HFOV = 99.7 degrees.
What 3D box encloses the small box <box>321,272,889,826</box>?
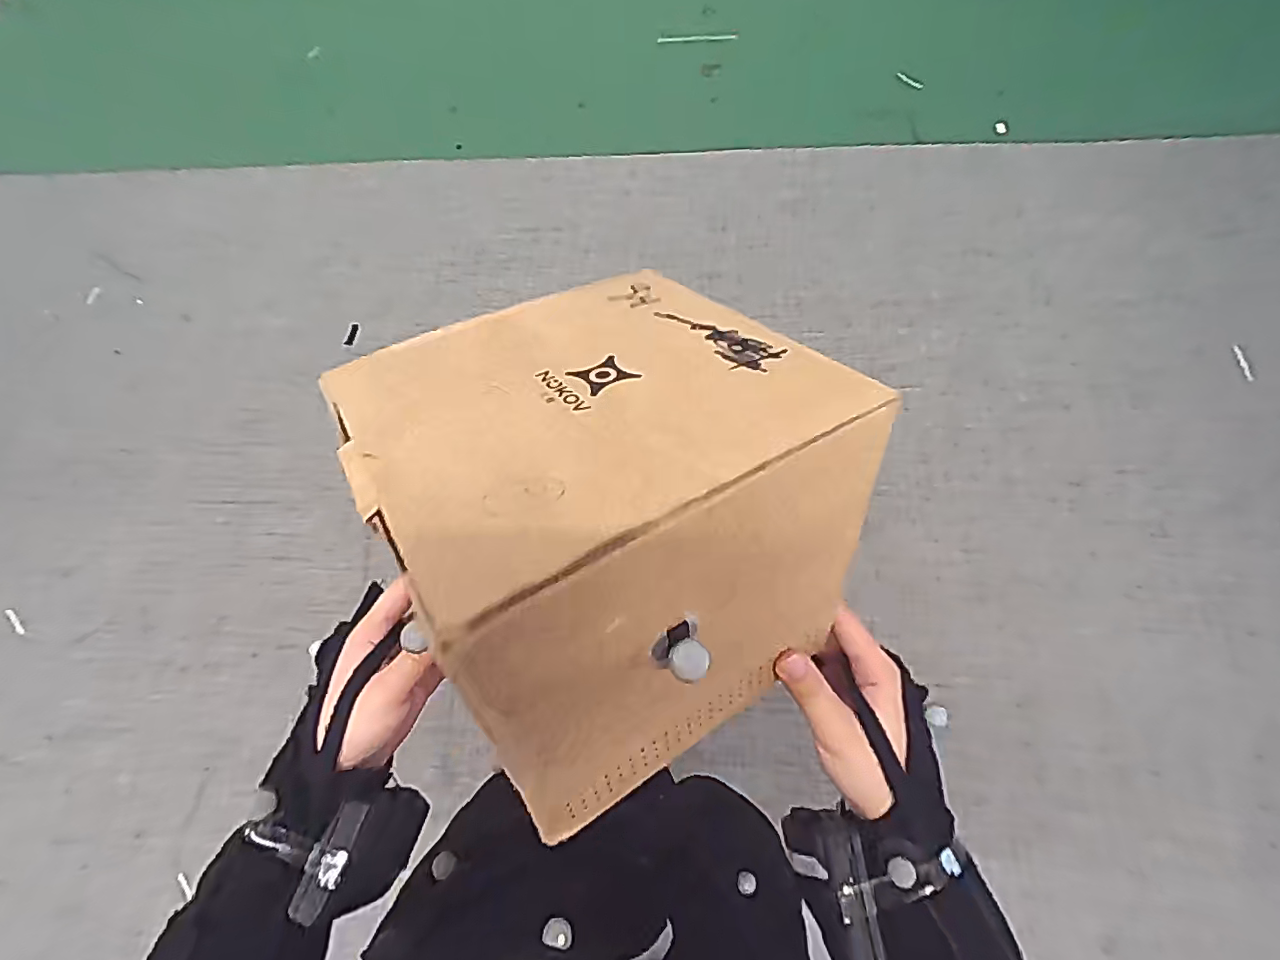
[{"bbox_3d":[-0.017,0.026,0.266,0.179,0.176,0.168,-27,47,-21],"label":"small box"}]
